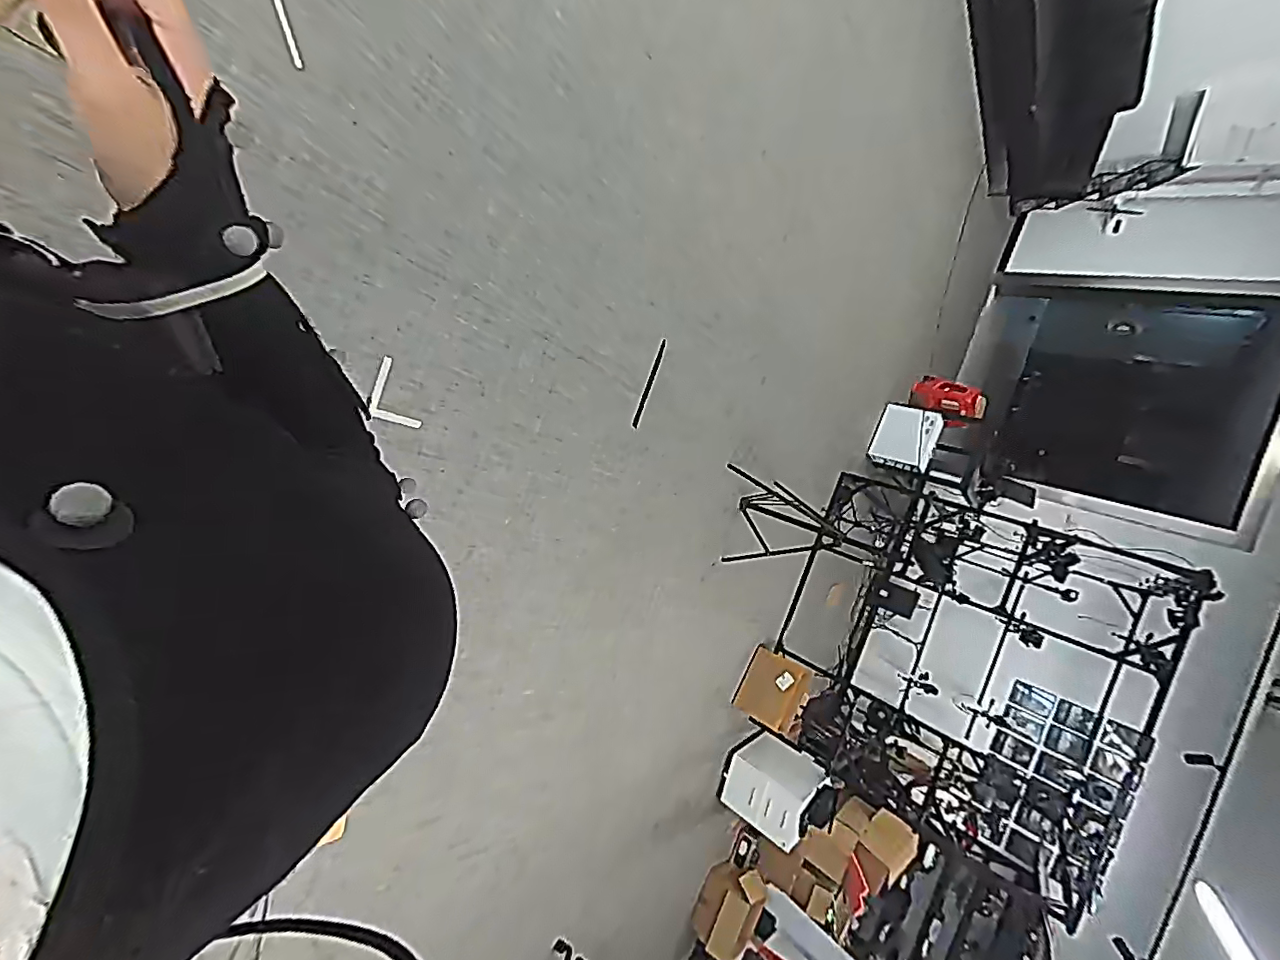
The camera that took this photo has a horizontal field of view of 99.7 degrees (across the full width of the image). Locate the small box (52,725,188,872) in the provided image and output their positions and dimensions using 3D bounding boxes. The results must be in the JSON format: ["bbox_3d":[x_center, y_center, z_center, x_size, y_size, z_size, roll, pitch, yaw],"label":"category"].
[{"bbox_3d":[-1.083,0.648,1.124,0.168,0.176,0.179,14,95,-54],"label":"small box"}]
